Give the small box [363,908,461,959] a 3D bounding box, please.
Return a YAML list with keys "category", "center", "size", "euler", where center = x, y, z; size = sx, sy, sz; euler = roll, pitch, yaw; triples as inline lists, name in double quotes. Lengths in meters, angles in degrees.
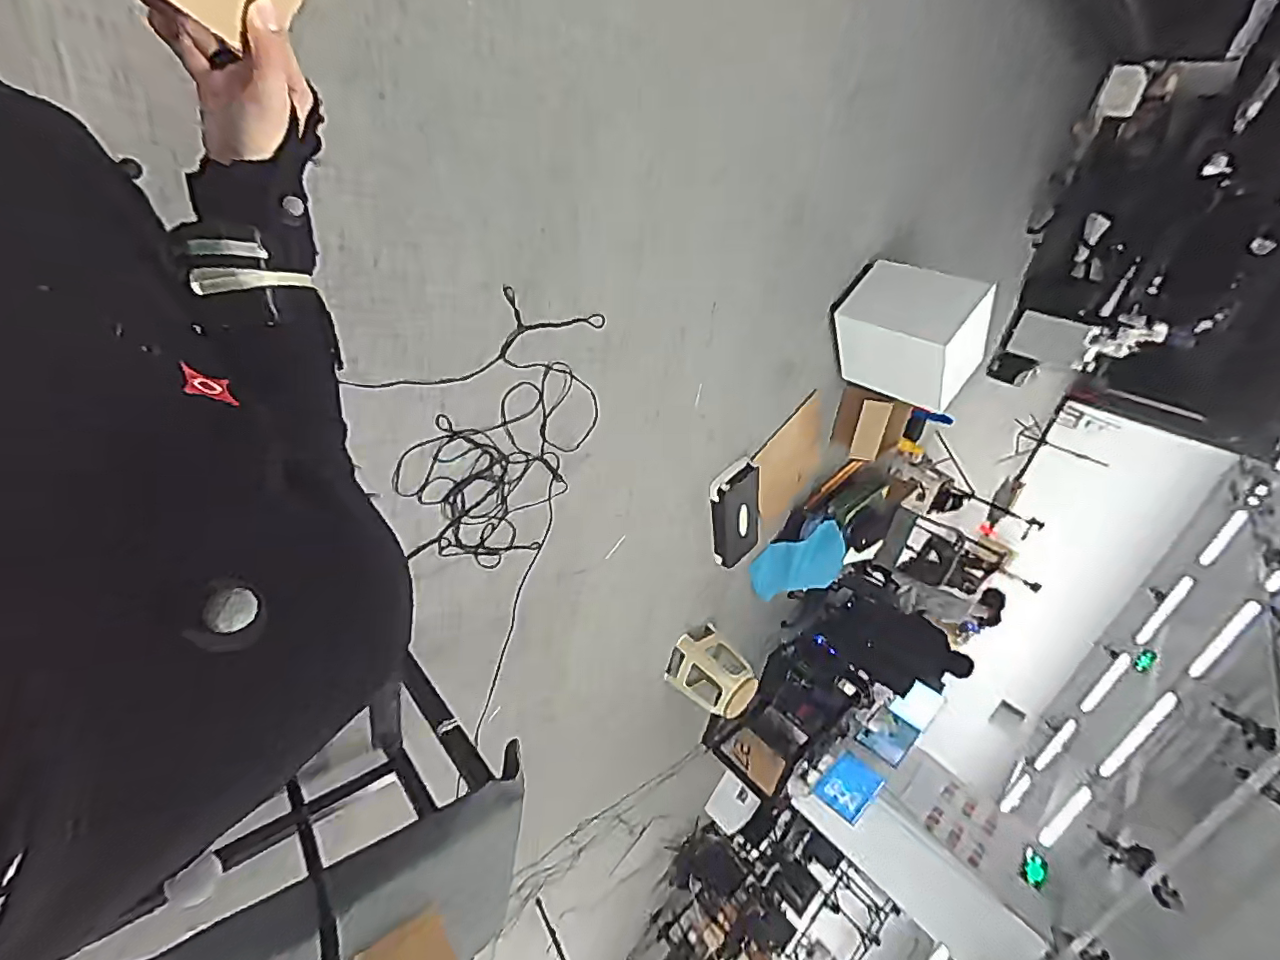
- category: "small box"
  center: [-0.502, 1.094, 1.163]
  size: [0.179, 0.176, 0.168]
  euler: [-7, 121, -48]
